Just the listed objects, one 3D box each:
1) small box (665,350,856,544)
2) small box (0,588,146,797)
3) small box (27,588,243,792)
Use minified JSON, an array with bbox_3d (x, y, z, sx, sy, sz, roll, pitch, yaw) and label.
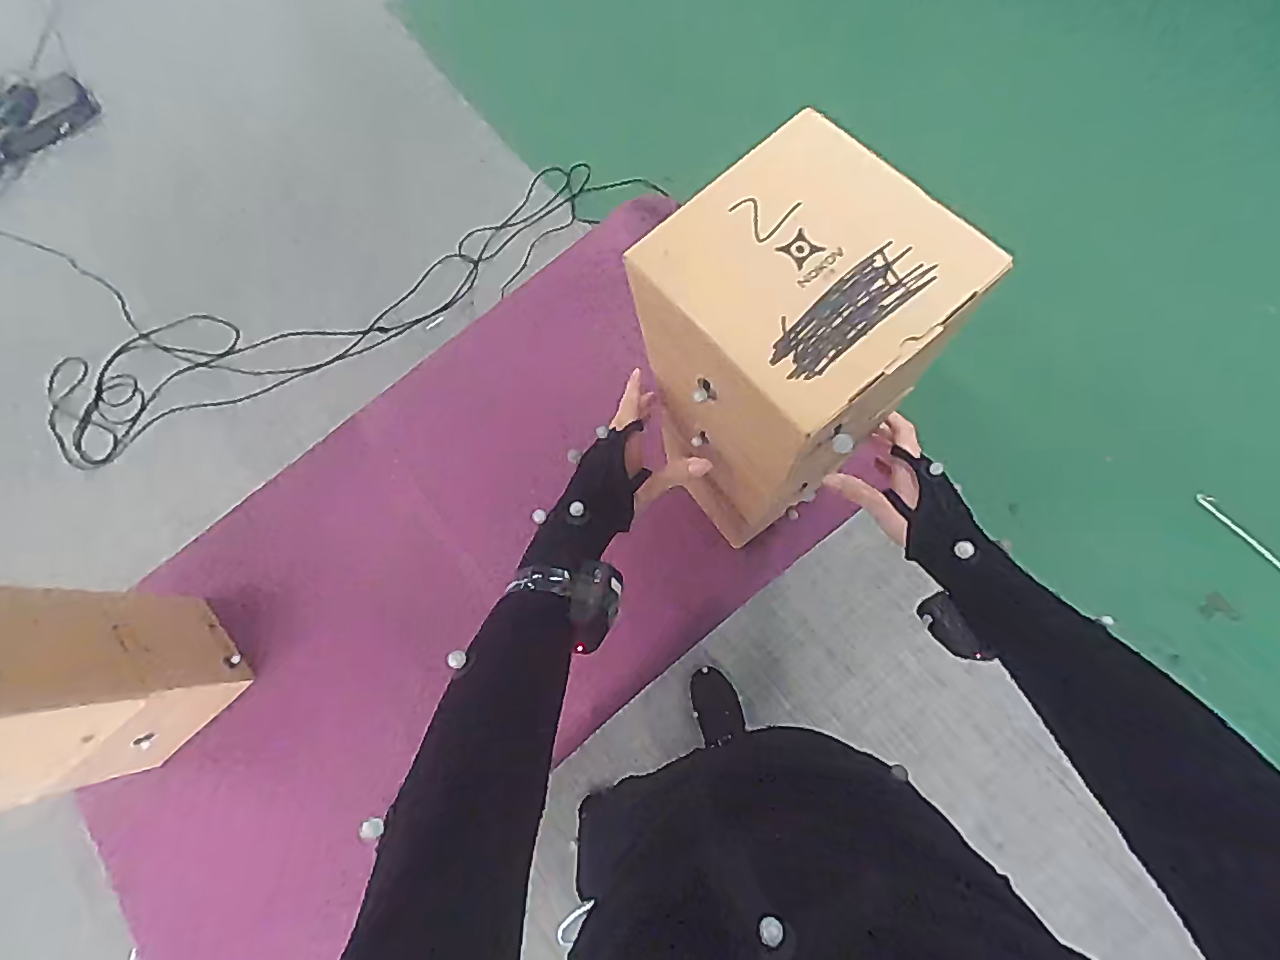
[{"bbox_3d":[0.151,-0.035,0.733,0.179,0.176,0.168,-36,74,-4],"label":"small box"},{"bbox_3d":[-0.694,0.225,0.572,0.168,0.176,0.179,-42,75,-7],"label":"small box"},{"bbox_3d":[-0.687,0.267,0.729,0.179,0.176,0.168,-43,76,-6],"label":"small box"}]
